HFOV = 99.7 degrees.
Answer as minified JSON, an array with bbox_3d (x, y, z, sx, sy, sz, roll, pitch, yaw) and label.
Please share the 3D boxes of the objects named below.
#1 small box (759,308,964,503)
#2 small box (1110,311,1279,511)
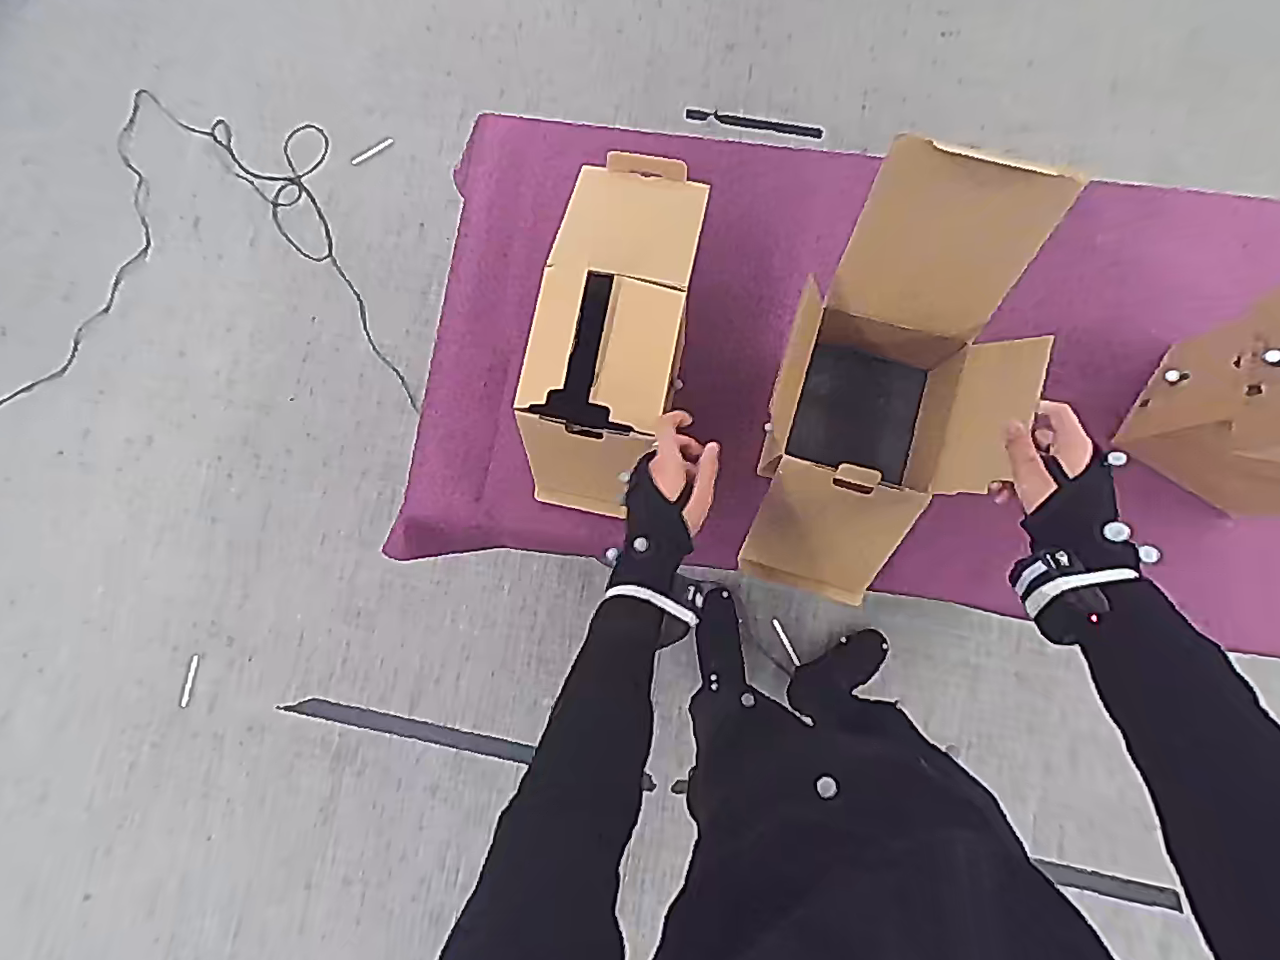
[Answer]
[{"bbox_3d":[0.251,-0.077,0.658,0.168,0.176,0.179,16,85,4],"label":"small box"},{"bbox_3d":[0.724,-0.075,0.628,0.179,0.176,0.168,35,87,7],"label":"small box"}]
